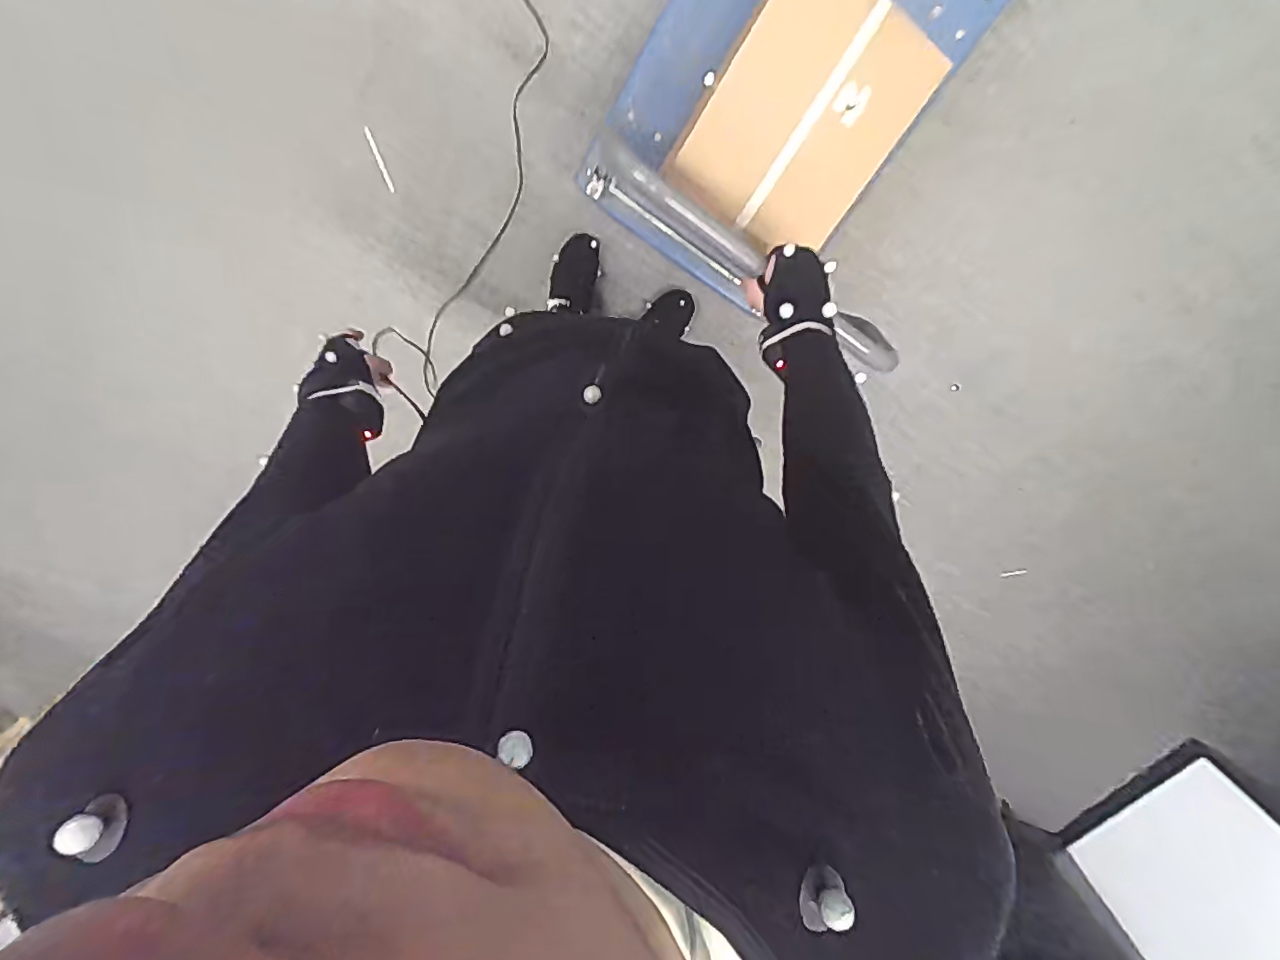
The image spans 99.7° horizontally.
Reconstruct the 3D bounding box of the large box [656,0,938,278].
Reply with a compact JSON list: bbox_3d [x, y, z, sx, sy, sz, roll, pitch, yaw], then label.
[{"bbox_3d":[0.267,-0.672,1.073,0.320,0.320,0.408,29,111,-17],"label":"large box"}]
